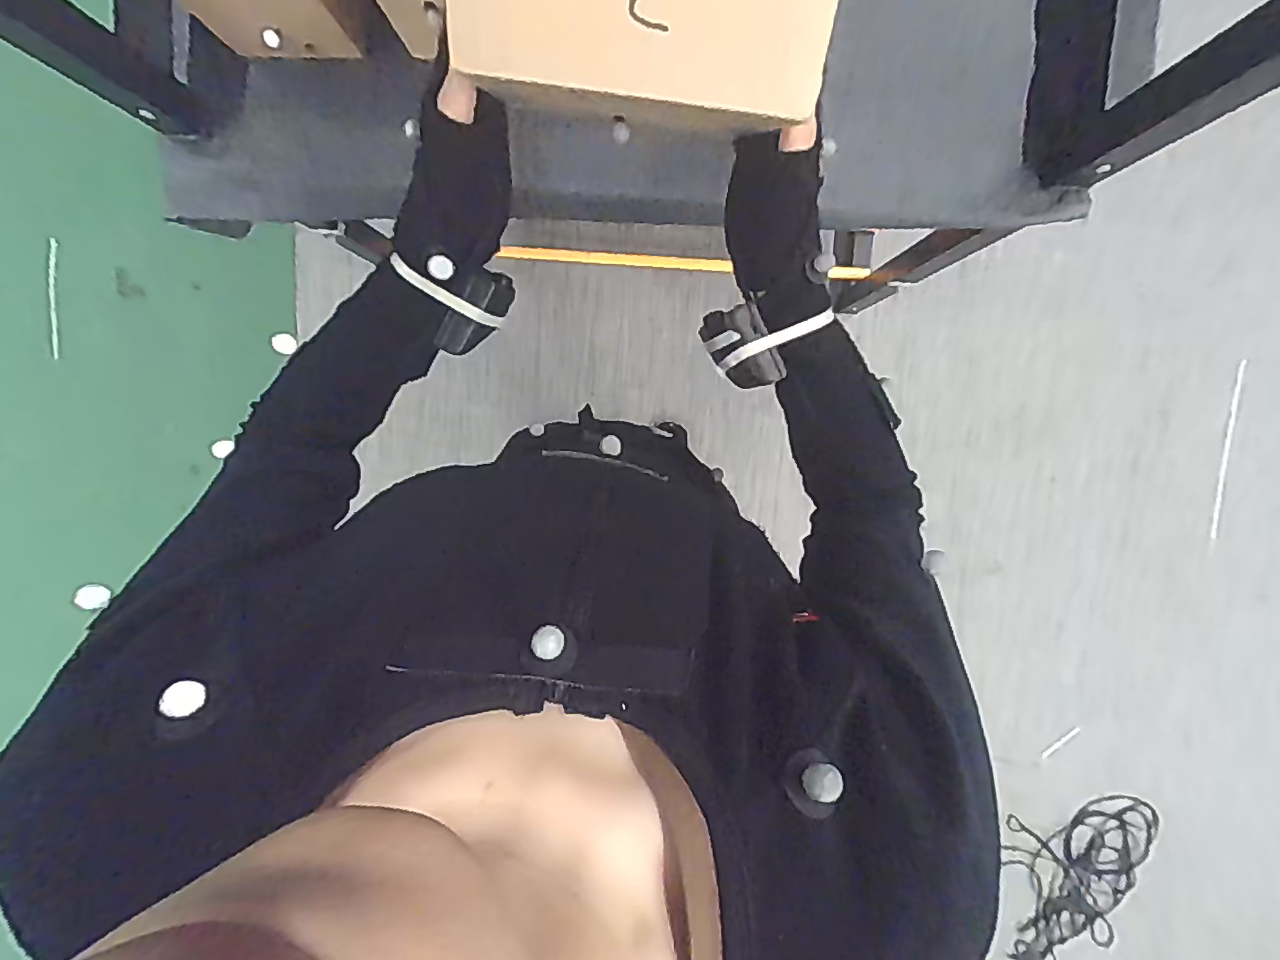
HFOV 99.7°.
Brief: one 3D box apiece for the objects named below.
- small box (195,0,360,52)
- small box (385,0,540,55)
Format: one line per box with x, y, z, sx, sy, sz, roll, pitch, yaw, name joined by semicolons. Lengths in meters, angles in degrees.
-0.431;-0.624;0.596;0.168;0.176;0.179;2;96;1;small box
-0.204;-0.616;0.597;0.168;0.176;0.179;4;96;0;small box
